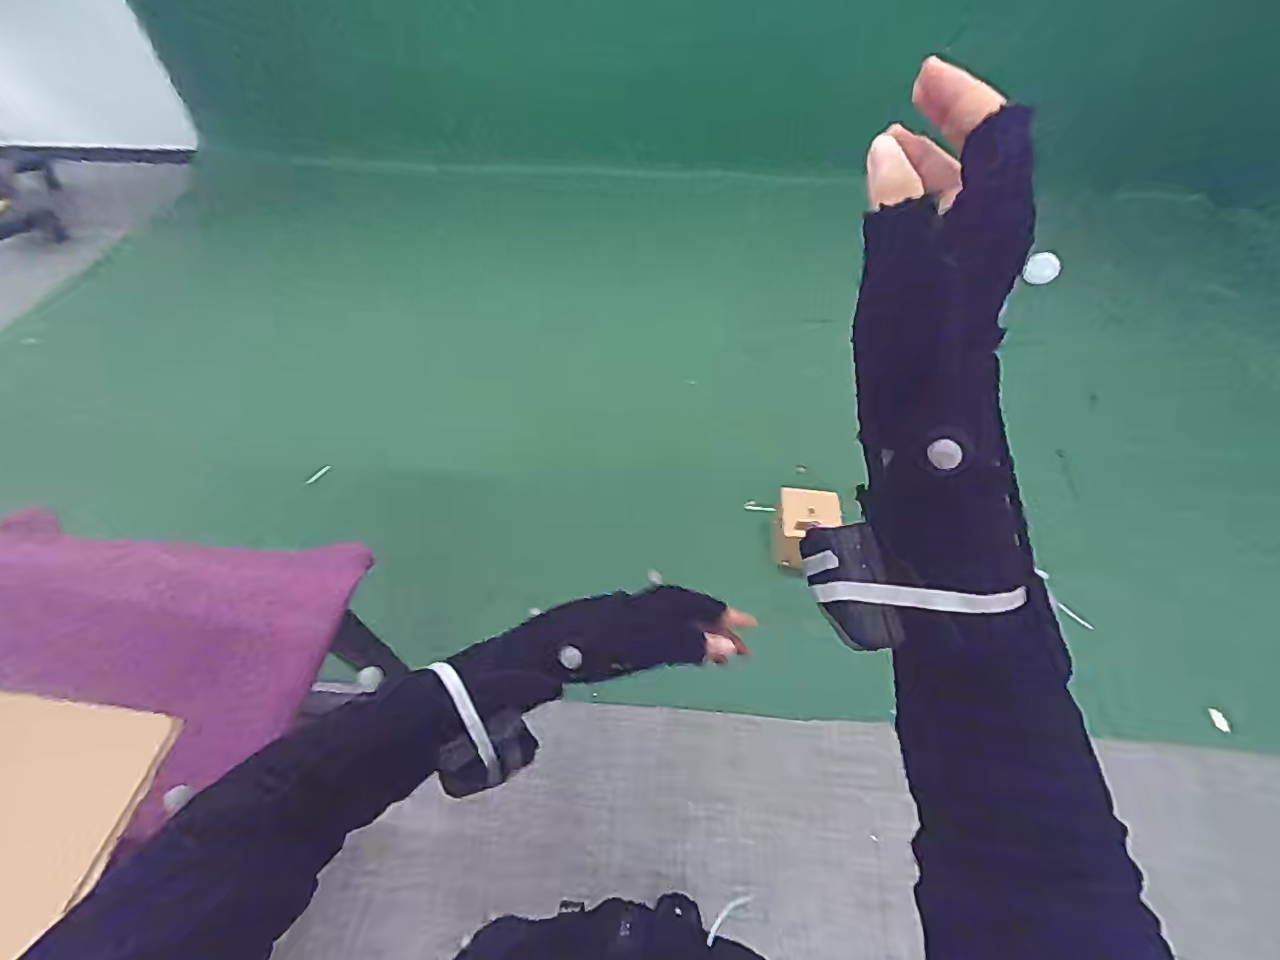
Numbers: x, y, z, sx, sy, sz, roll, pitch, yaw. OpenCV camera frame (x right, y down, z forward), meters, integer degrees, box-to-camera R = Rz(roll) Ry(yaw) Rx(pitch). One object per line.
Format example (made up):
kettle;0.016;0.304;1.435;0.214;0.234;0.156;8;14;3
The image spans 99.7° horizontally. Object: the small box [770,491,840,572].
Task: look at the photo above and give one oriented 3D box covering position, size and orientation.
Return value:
small box;0.492;0.159;1.633;0.168;0.176;0.179;6;51;4
